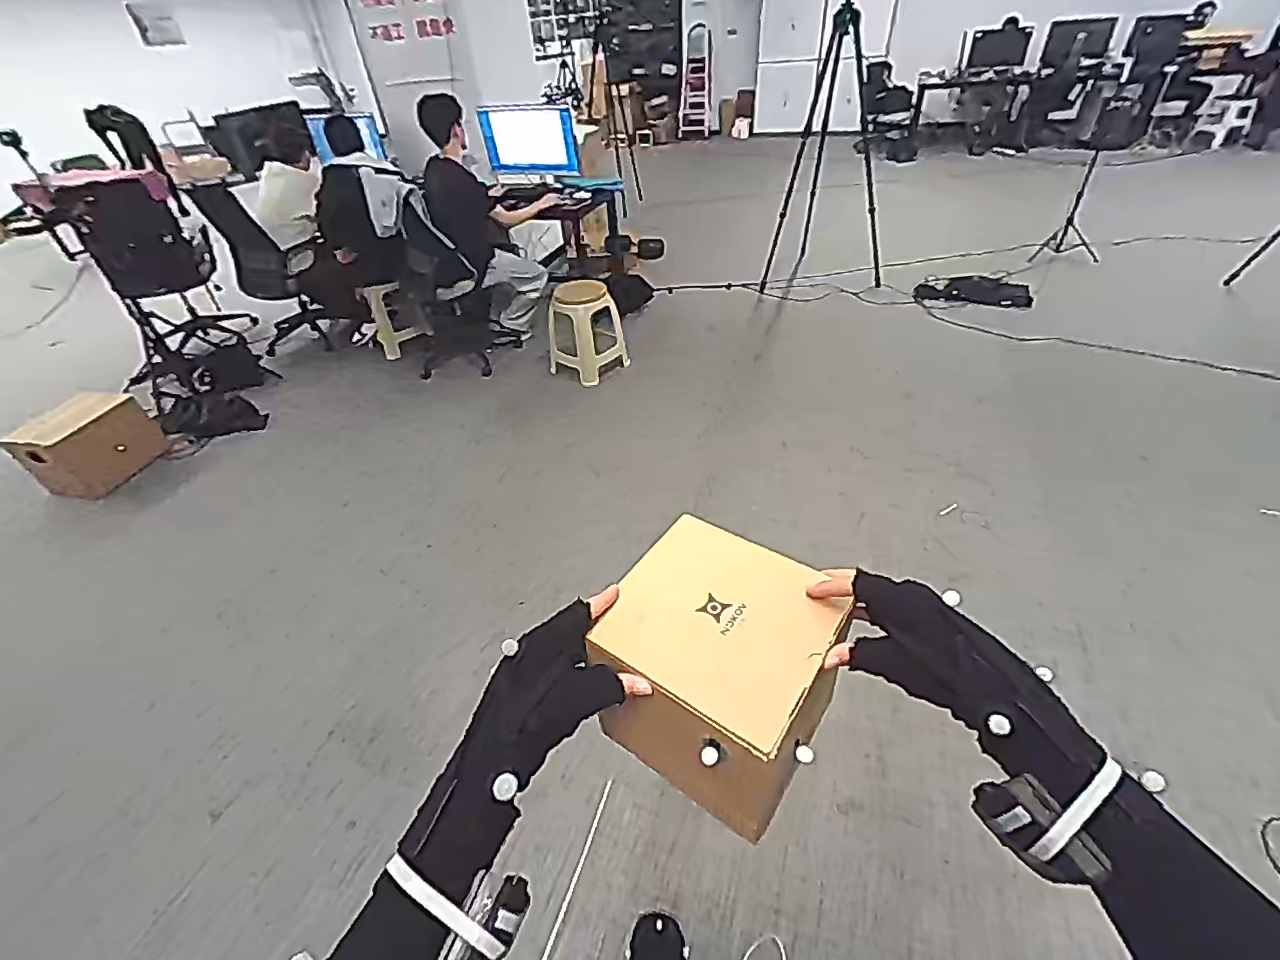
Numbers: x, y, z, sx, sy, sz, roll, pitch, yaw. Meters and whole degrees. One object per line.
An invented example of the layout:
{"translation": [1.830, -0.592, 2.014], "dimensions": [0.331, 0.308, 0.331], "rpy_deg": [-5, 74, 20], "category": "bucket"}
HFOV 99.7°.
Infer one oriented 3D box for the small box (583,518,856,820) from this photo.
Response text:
{"translation": [0.071, 0.171, 0.505], "dimensions": [0.179, 0.176, 0.168], "rpy_deg": [24, 47, 30], "category": "small box"}
